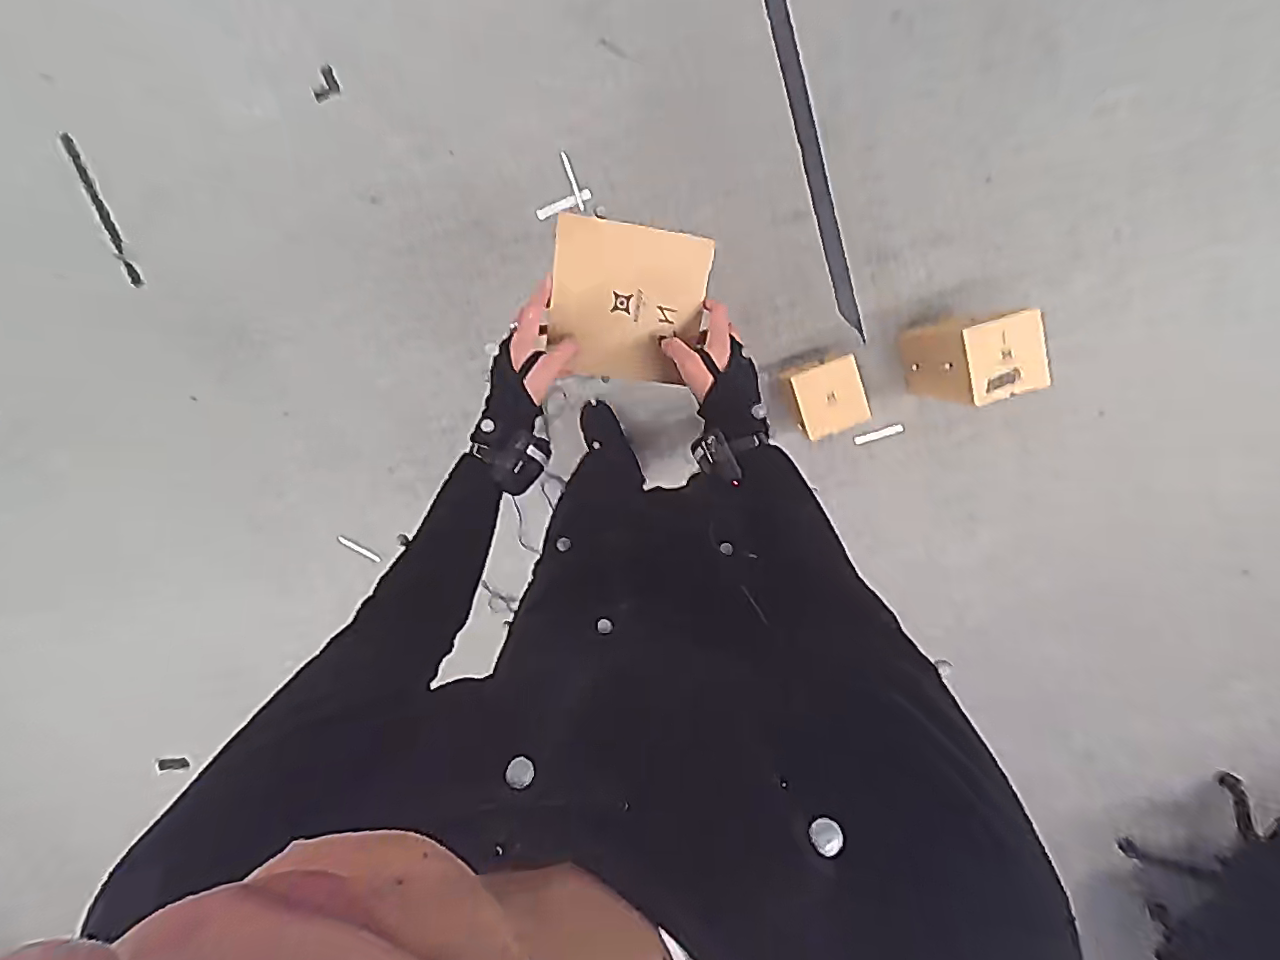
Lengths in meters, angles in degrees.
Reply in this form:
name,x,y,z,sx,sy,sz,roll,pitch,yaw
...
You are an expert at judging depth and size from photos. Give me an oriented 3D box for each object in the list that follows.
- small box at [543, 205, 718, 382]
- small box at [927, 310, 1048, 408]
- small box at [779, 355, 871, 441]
name,x,y,z,sx,sy,sz,roll,pitch,yaw
small box,-0.022,-0.229,0.673,0.179,0.176,0.168,6,111,-11
small box,0.796,-0.282,1.253,0.168,0.176,0.179,-17,102,5
small box,0.488,-0.224,1.450,0.168,0.176,0.179,-20,103,7
